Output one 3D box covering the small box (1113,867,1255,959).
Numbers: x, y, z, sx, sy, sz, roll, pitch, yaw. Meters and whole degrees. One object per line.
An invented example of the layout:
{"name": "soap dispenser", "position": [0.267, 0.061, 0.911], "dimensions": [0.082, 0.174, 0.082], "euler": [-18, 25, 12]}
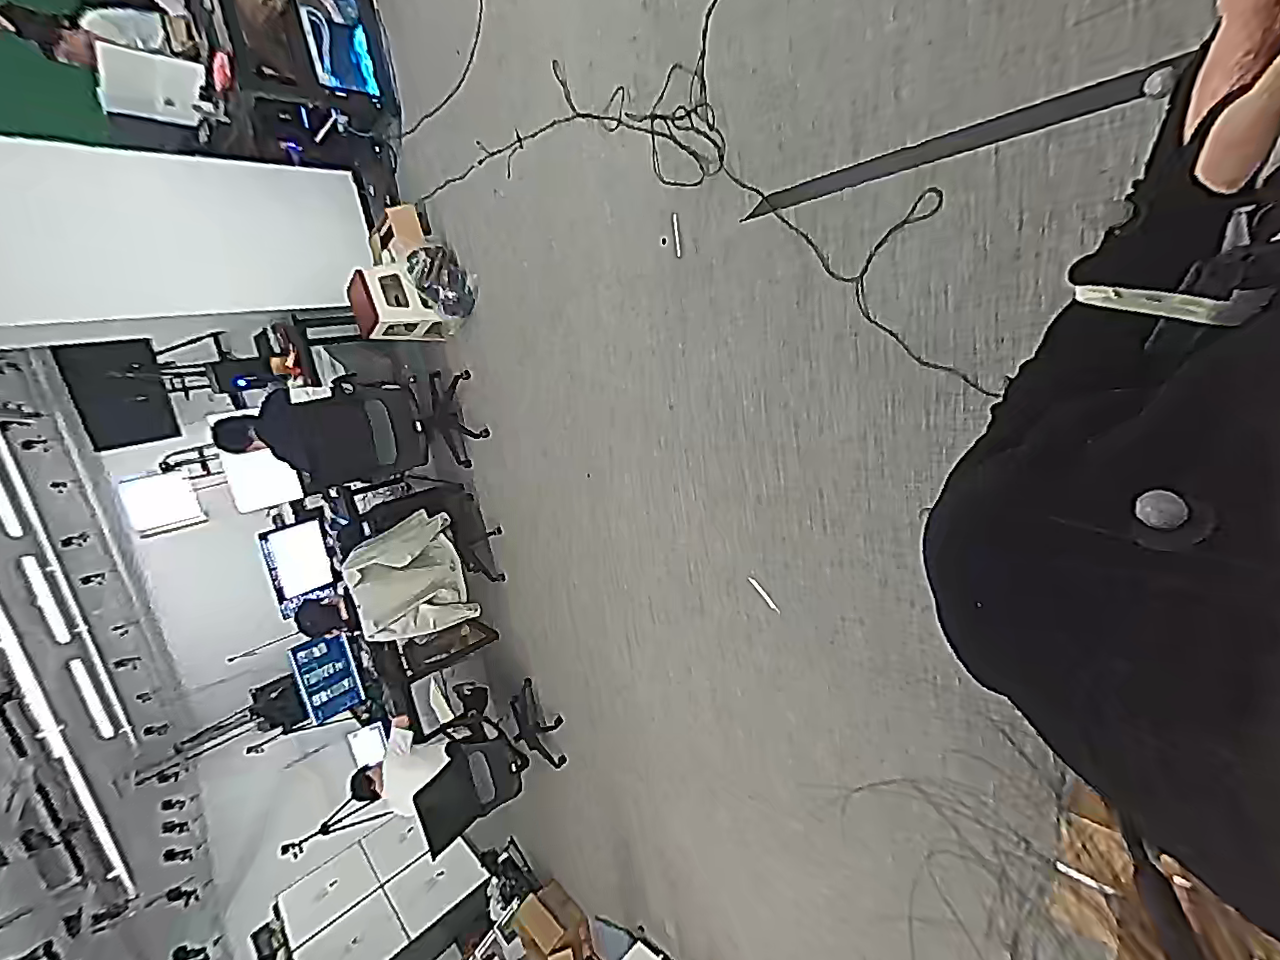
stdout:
{"name": "small box", "position": [1.012, 0.882, 1.009], "dimensions": [0.179, 0.176, 0.168], "euler": [6, 108, 48]}
